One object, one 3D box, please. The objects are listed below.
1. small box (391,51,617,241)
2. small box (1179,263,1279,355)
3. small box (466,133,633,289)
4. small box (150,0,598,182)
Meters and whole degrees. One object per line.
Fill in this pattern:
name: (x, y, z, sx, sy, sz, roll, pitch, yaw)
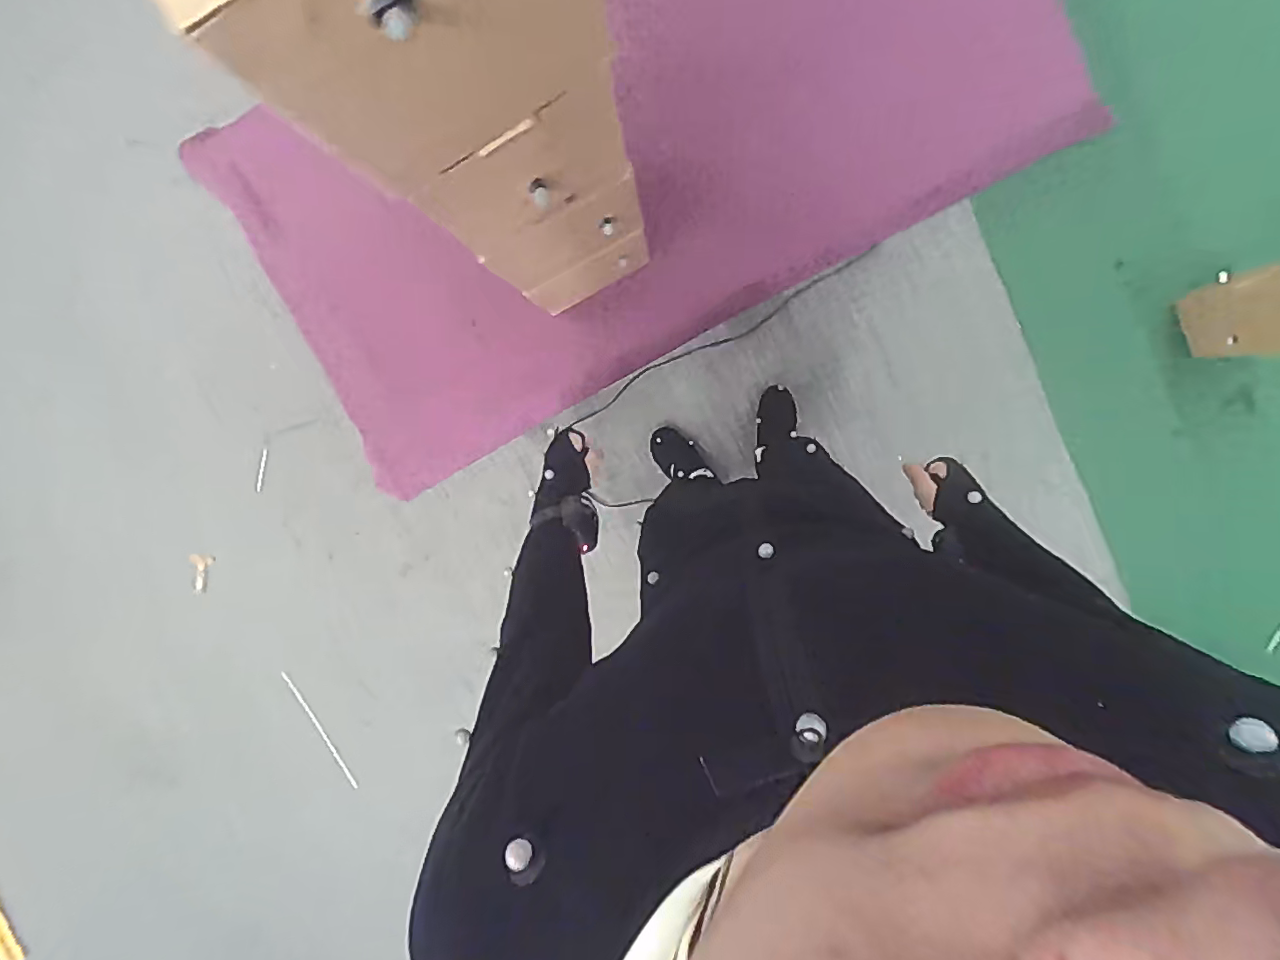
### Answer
small box: (-0.132, -0.320, 0.437, 0.168, 0.176, 0.179, -28, 95, 7)
small box: (1.531, -0.427, 1.356, 0.168, 0.176, 0.179, -26, 96, 8)
small box: (-0.117, -0.338, 0.598, 0.179, 0.176, 0.168, -27, 95, 8)
small box: (-0.140, -0.294, 0.275, 0.179, 0.176, 0.168, -29, 95, 7)
